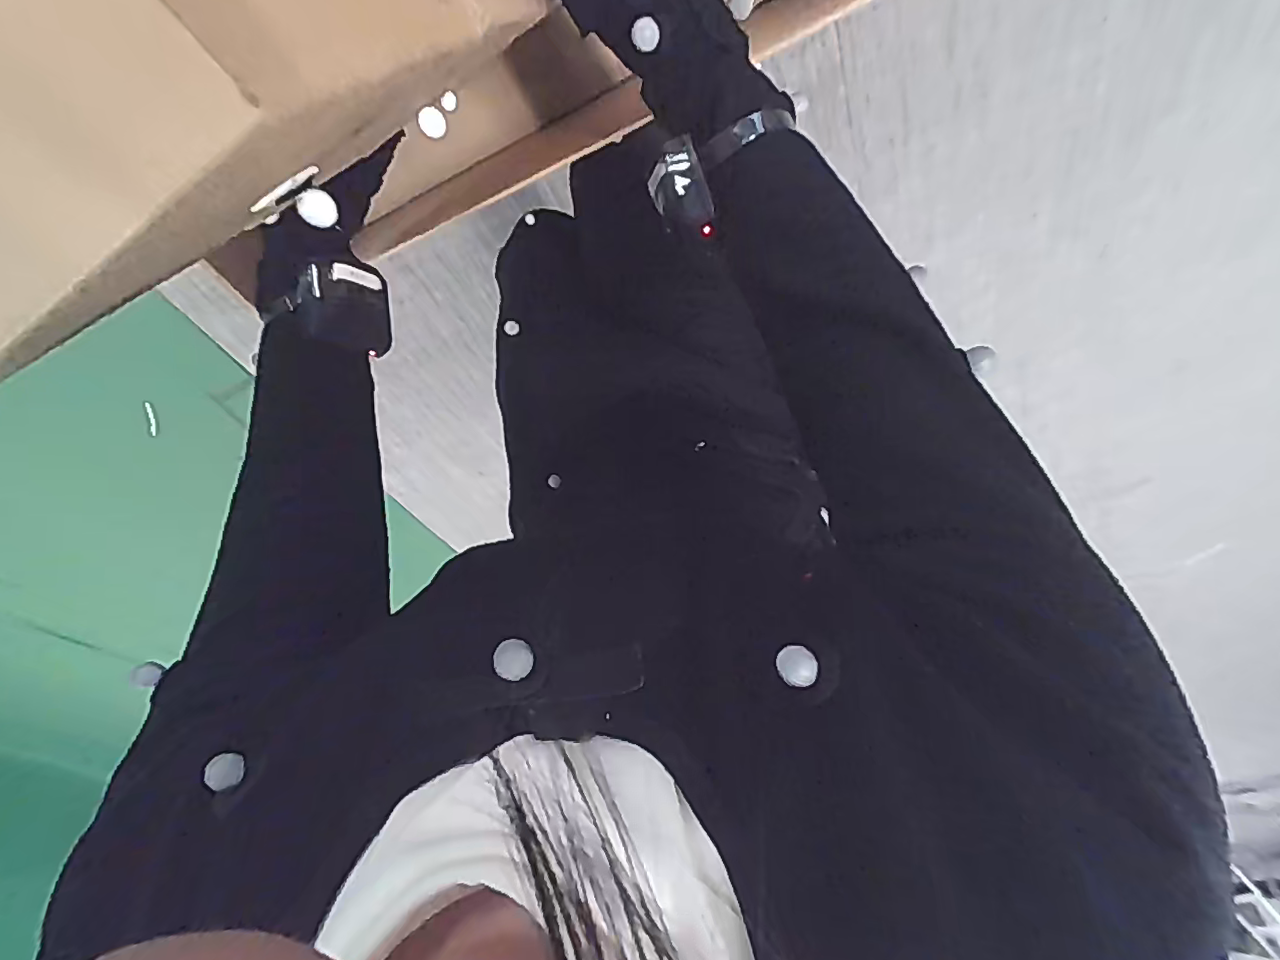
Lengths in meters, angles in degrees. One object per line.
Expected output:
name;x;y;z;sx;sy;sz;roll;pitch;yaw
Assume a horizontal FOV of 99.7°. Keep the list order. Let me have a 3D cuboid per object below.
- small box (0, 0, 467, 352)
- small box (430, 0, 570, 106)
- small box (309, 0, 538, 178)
small box;-0.180;-0.161;0.143;0.168;0.176;0.179;-20;129;22
small box;-0.166;-0.388;0.377;0.168;0.176;0.179;-21;128;23
small box;-0.173;-0.272;0.261;0.168;0.176;0.179;-21;129;21
